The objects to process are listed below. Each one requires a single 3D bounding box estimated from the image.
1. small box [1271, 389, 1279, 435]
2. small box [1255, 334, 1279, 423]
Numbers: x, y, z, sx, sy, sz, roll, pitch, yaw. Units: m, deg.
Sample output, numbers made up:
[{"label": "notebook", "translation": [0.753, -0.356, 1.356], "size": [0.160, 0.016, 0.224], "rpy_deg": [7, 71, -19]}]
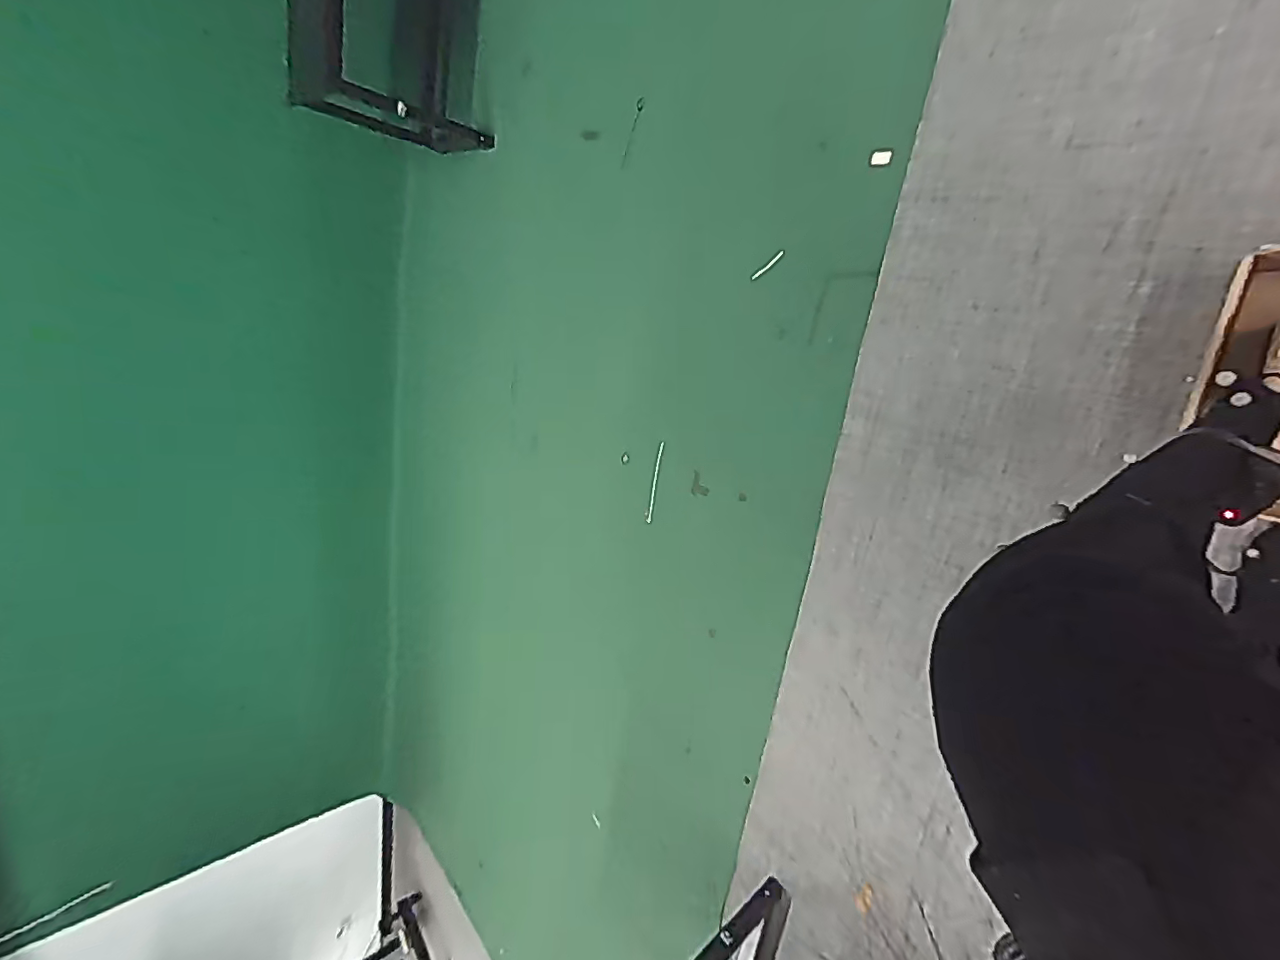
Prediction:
[{"label": "small box", "translation": [0.921, -0.128, 0.657], "size": [0.168, 0.176, 0.179], "rpy_deg": [21, 111, 42]}, {"label": "small box", "translation": [1.034, -0.155, 0.774], "size": [0.179, 0.176, 0.168], "rpy_deg": [15, 107, 42]}]
